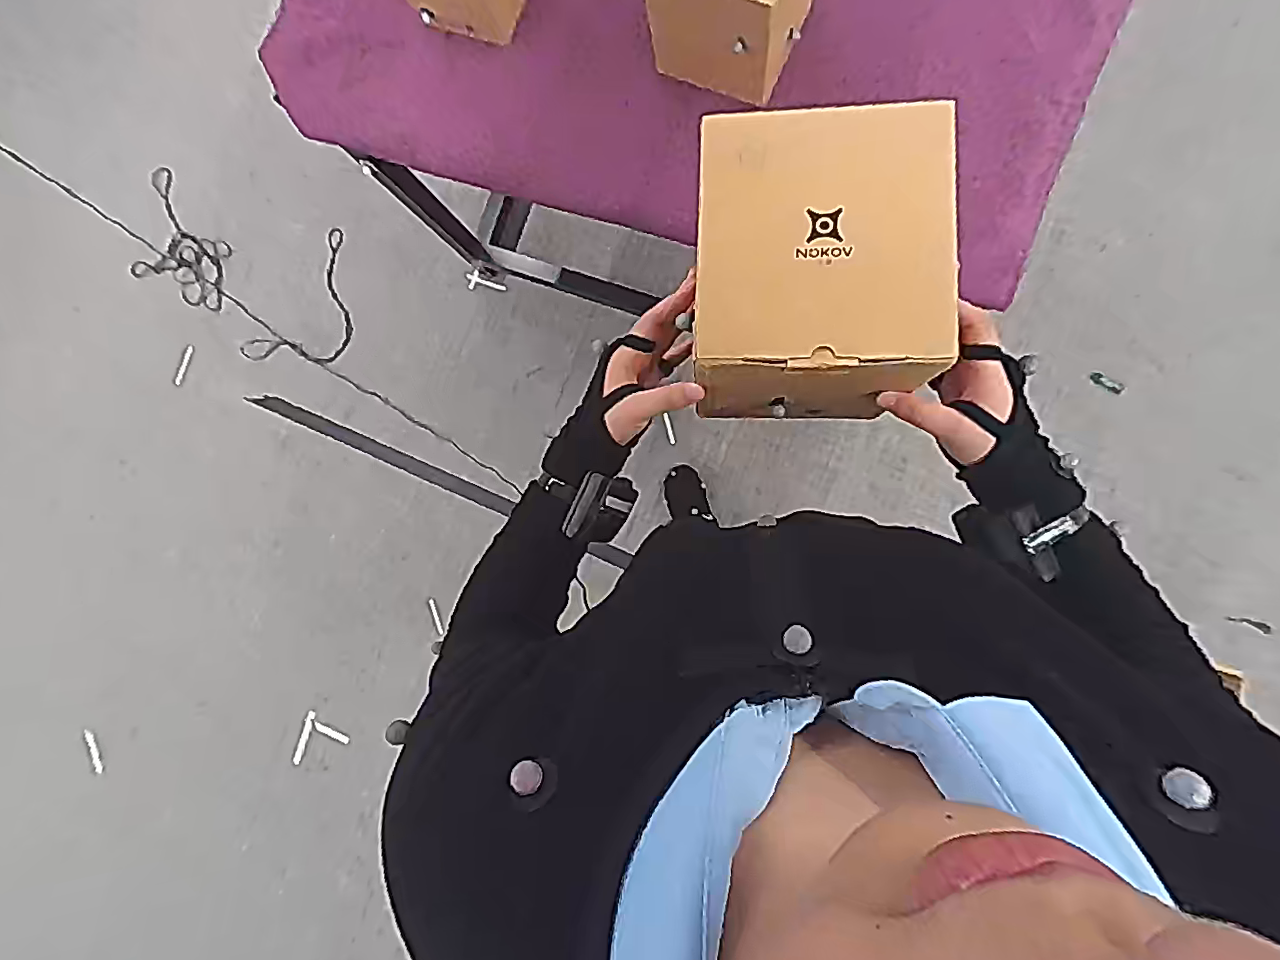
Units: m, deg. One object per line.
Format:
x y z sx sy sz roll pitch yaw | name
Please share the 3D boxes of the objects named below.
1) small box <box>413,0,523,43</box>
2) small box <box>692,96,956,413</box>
-0.264 -0.800 0.794 0.168 0.176 0.179 22 91 9 | small box
0.126 -0.159 0.431 0.168 0.176 0.179 1 85 7 | small box
